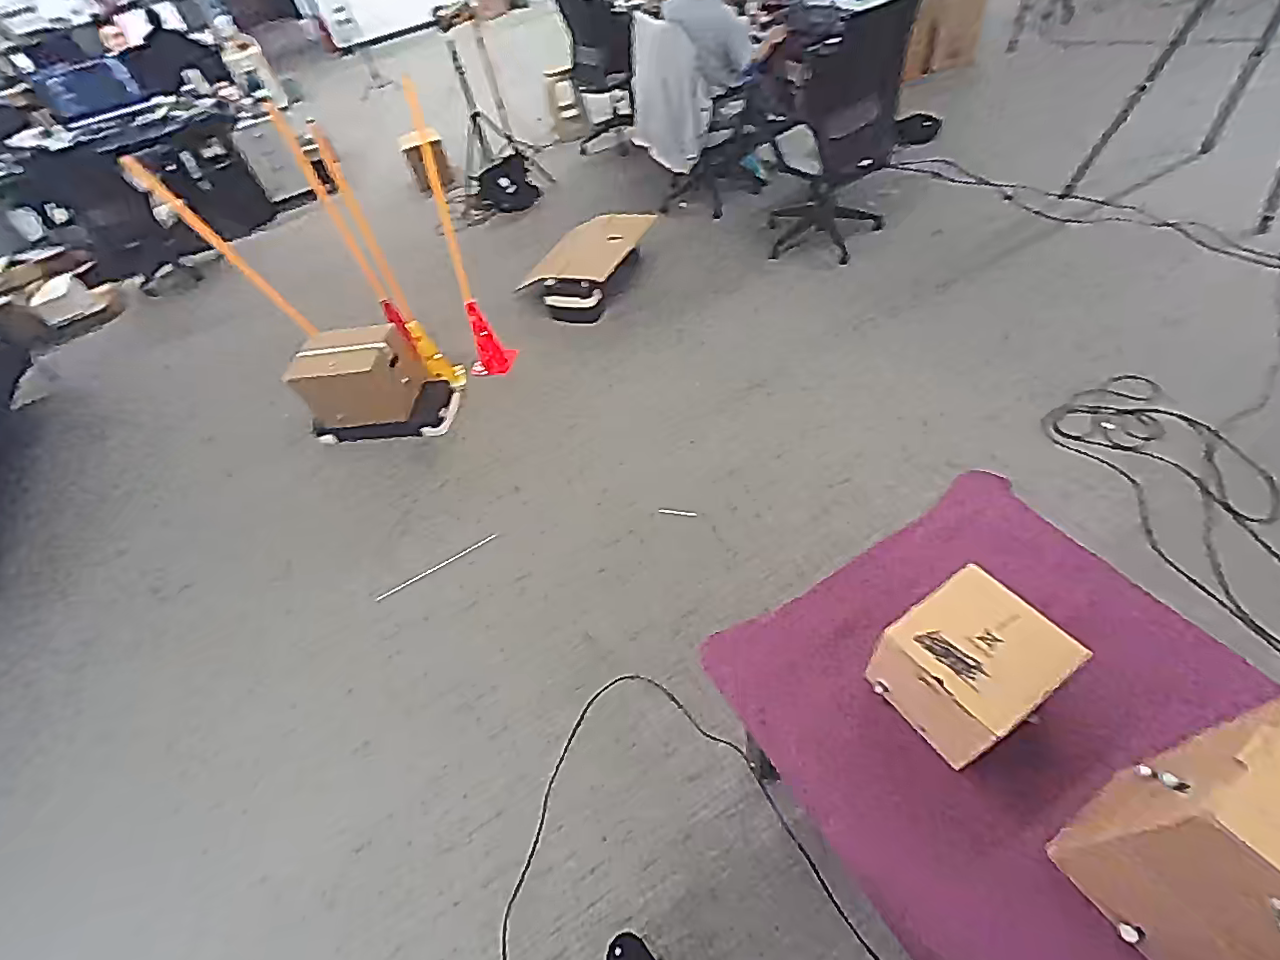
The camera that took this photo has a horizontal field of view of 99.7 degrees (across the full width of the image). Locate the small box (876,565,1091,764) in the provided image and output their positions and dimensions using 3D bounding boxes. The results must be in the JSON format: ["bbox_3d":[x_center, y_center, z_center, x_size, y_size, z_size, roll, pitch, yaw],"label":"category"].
[{"bbox_3d":[0.453,0.258,0.749,0.179,0.176,0.168,-30,52,-14],"label":"small box"}]

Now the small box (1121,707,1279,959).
[{"bbox_3d":[0.575,0.323,0.456,0.168,0.176,0.179,-32,51,-13],"label":"small box"}]

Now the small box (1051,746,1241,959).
[{"bbox_3d":[0.604,0.427,0.578,0.168,0.176,0.179,-31,52,-14],"label":"small box"}]
